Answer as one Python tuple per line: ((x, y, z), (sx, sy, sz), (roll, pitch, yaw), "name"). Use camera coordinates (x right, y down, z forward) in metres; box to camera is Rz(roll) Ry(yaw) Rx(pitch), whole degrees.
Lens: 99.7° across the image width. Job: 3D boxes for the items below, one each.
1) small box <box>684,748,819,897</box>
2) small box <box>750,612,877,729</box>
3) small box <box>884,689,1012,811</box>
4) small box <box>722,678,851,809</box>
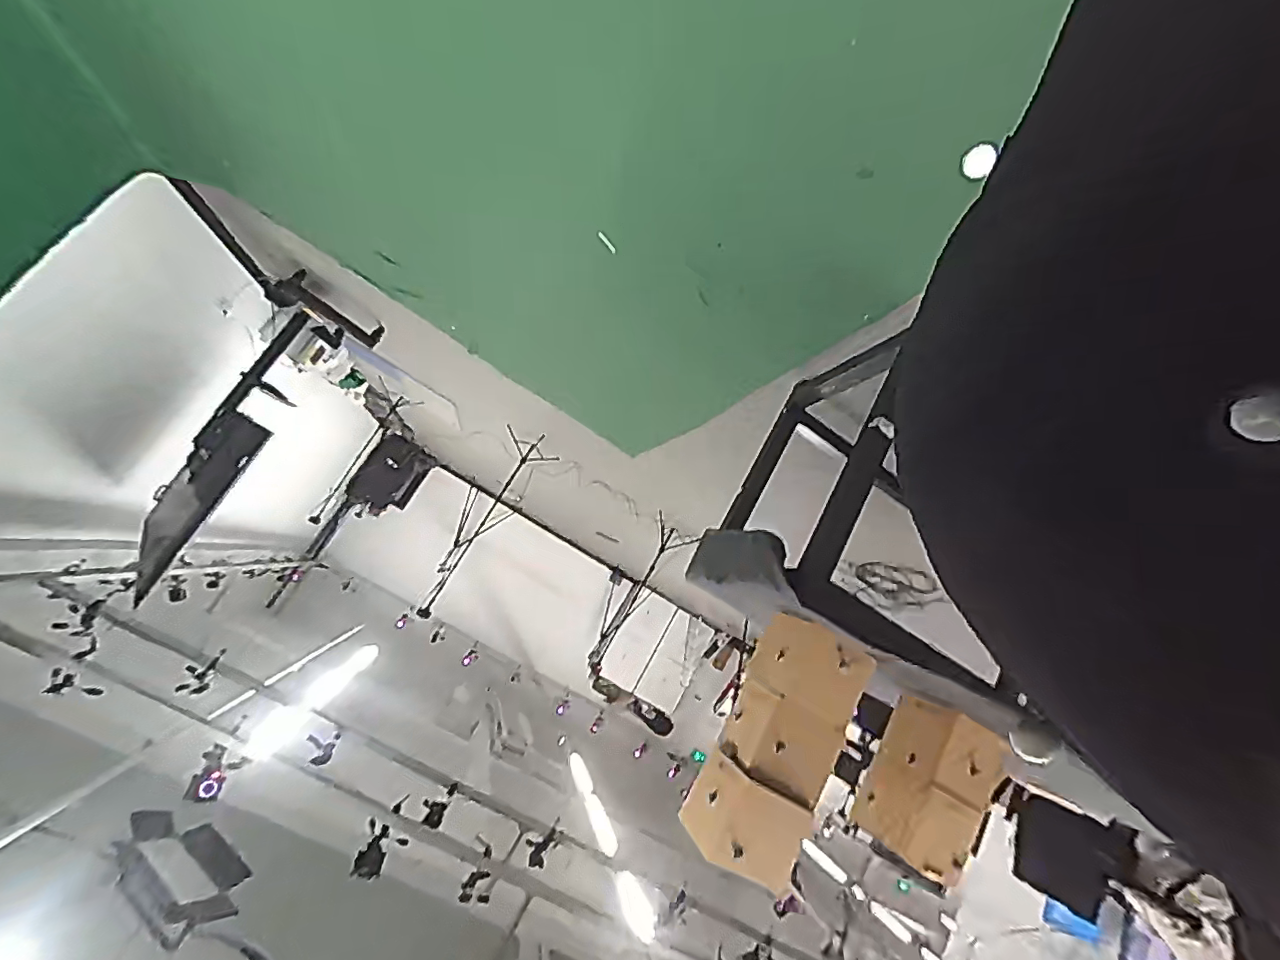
((0.224, 0.682, 1.098), (0.179, 0.176, 0.168), (32, 169, -13), "small box")
((0.381, 0.408, 1.187), (0.168, 0.176, 0.179), (33, 167, -15), "small box")
((0.718, 0.618, 1.259), (0.179, 0.176, 0.168), (32, 167, -12), "small box")
((0.310, 0.551, 1.155), (0.179, 0.176, 0.168), (30, 170, -8), "small box")
